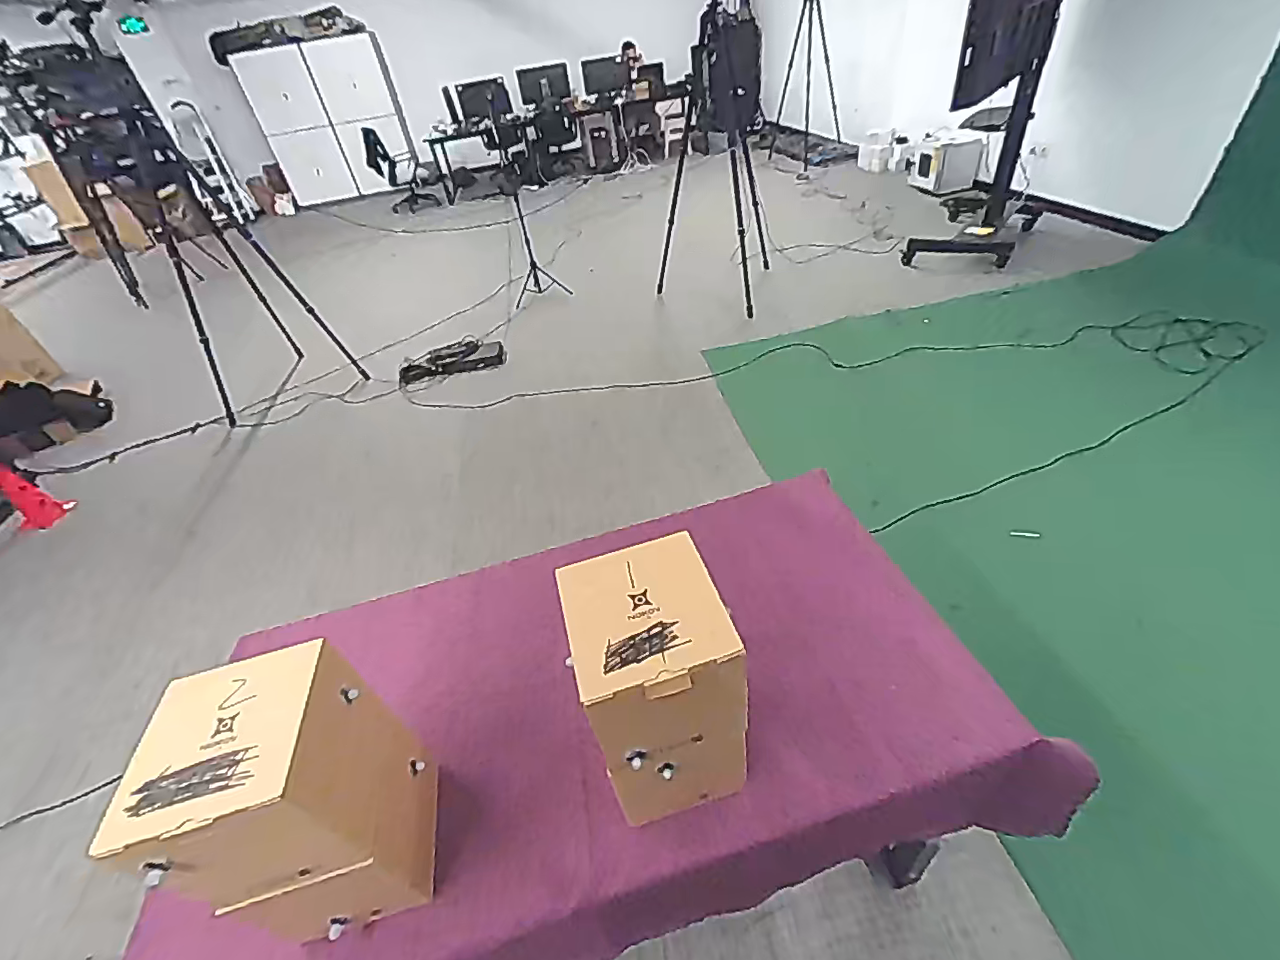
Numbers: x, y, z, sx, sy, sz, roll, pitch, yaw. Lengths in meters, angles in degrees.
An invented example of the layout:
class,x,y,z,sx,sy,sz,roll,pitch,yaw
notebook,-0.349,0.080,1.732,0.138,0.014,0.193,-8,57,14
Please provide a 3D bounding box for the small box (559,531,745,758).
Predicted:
class,x,y,z,sx,sy,sz,roll,pitch,yaw
small box,0.016,0.195,0.628,0.168,0.176,0.179,-16,40,-6

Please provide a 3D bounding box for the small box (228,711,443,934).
class,x,y,z,sx,sy,sz,roll,pitch,yaw
small box,-0.364,0.435,0.690,0.168,0.176,0.179,-15,41,-4

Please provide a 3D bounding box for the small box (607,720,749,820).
class,x,y,z,sx,sy,sz,roll,pitch,yaw
small box,0.038,0.319,0.734,0.168,0.176,0.179,-17,40,-5
